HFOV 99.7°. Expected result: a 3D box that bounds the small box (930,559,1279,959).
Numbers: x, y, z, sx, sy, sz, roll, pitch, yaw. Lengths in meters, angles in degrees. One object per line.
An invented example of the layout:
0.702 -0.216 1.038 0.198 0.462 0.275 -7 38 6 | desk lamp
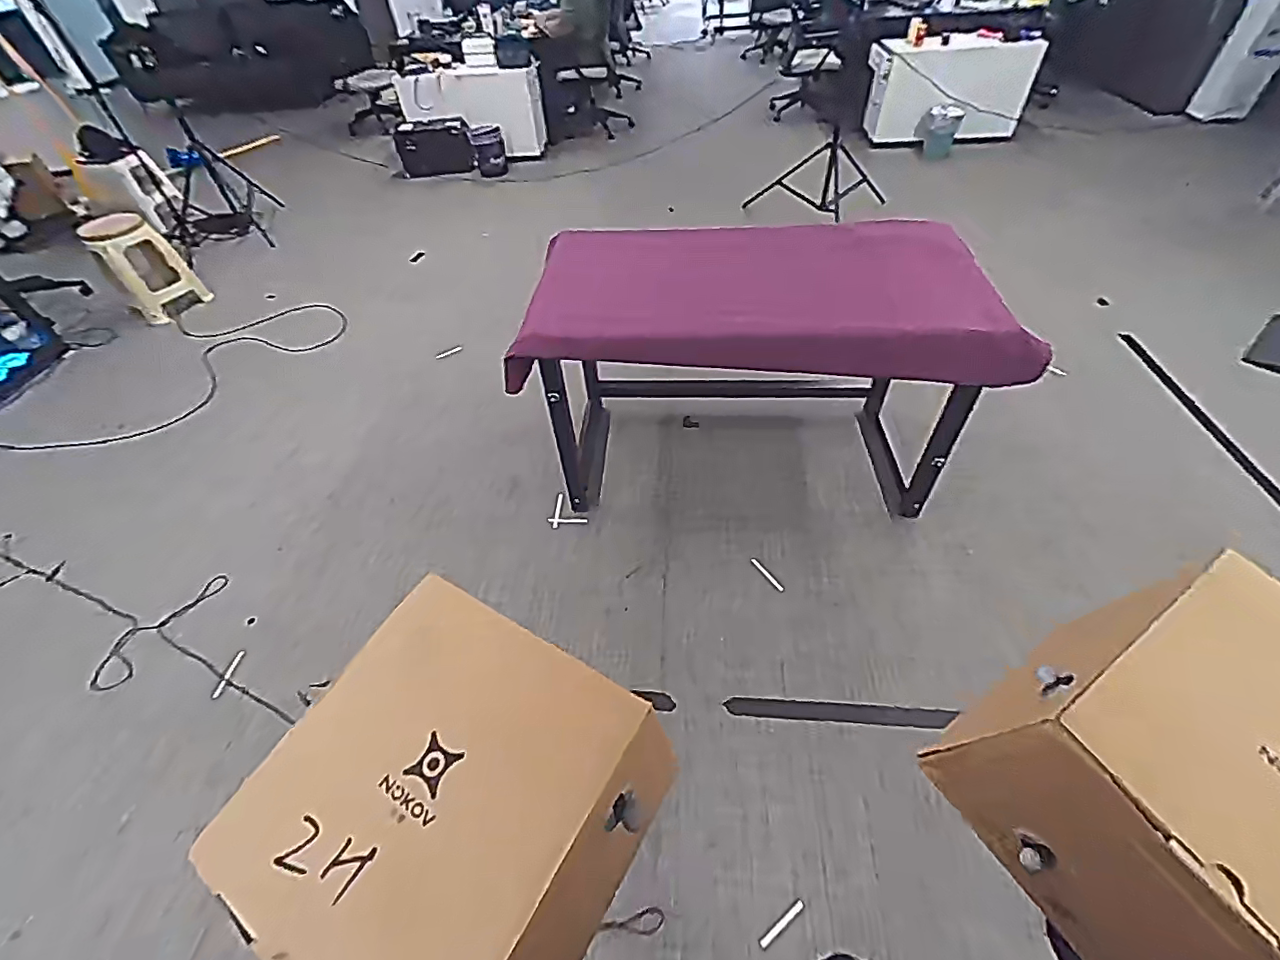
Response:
0.325 0.184 0.333 0.179 0.176 0.168 -30 62 -18 | small box

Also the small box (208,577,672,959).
-0.090 0.198 0.334 0.168 0.176 0.179 22 60 25 | small box
